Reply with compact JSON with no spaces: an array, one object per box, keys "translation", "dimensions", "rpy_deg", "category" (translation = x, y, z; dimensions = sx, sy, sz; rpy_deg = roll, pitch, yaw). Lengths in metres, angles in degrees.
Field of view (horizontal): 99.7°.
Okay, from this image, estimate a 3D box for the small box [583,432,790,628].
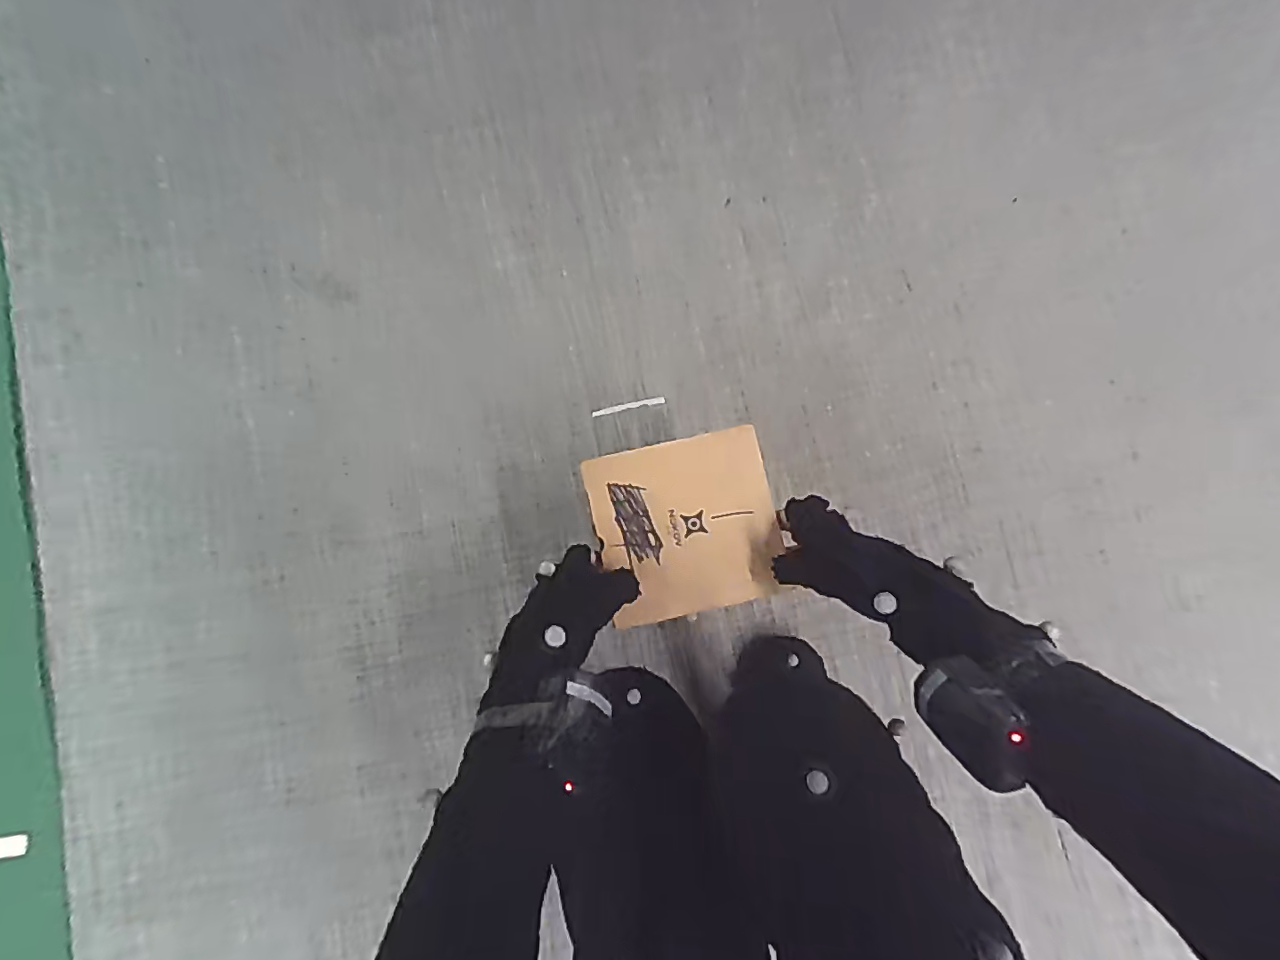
[{"translation":[0.046,0.059,0.606],"dimensions":[0.179,0.176,0.168],"rpy_deg":[-13,82,-1],"category":"small box"}]
